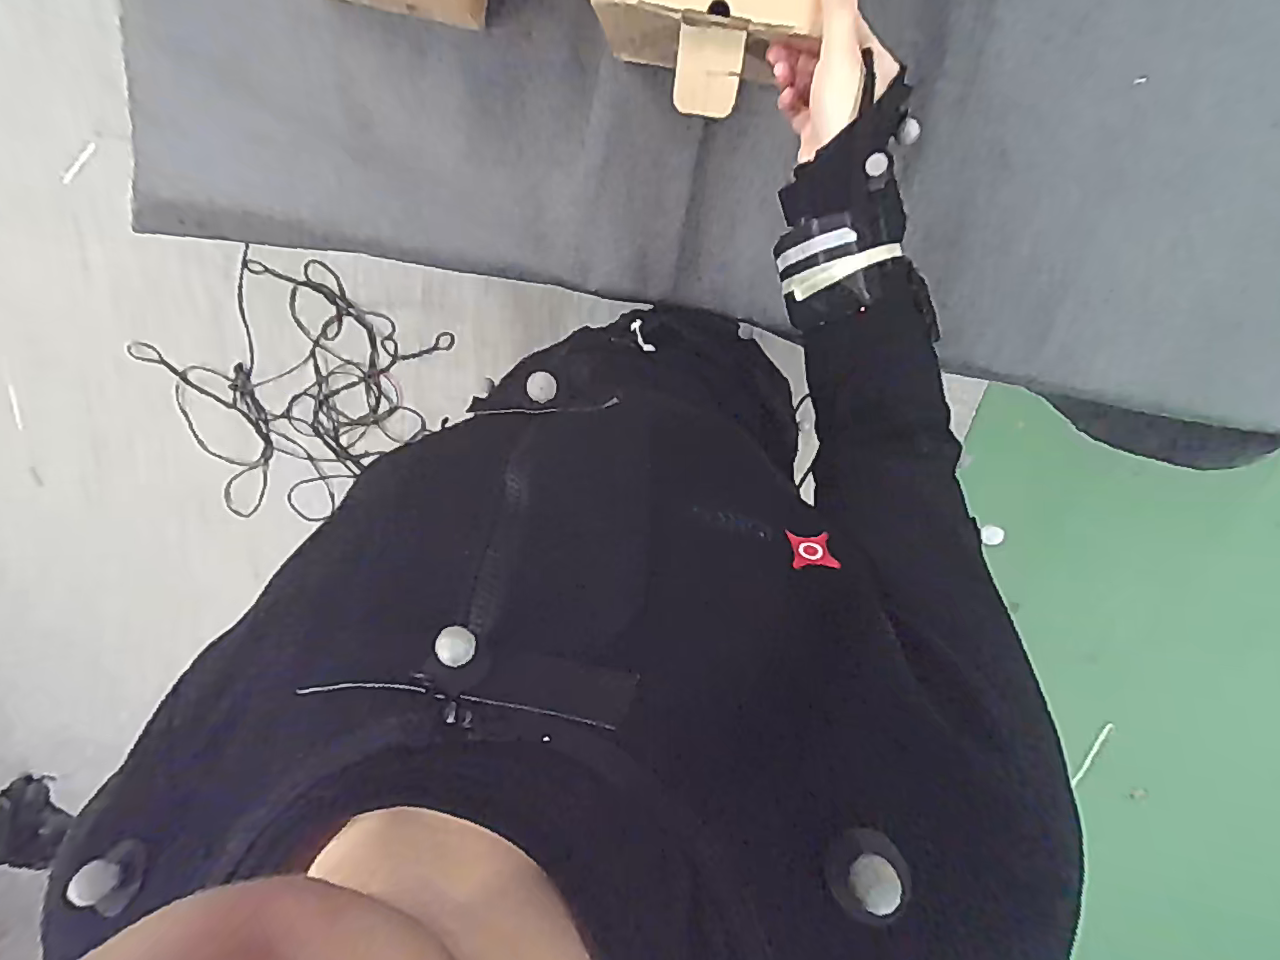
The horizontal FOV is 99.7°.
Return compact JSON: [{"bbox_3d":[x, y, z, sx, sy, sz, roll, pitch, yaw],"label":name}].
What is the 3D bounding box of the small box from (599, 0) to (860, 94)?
[{"bbox_3d":[0.067,-0.397,0.375,0.168,0.176,0.179,8,119,-2],"label":"small box"}]
